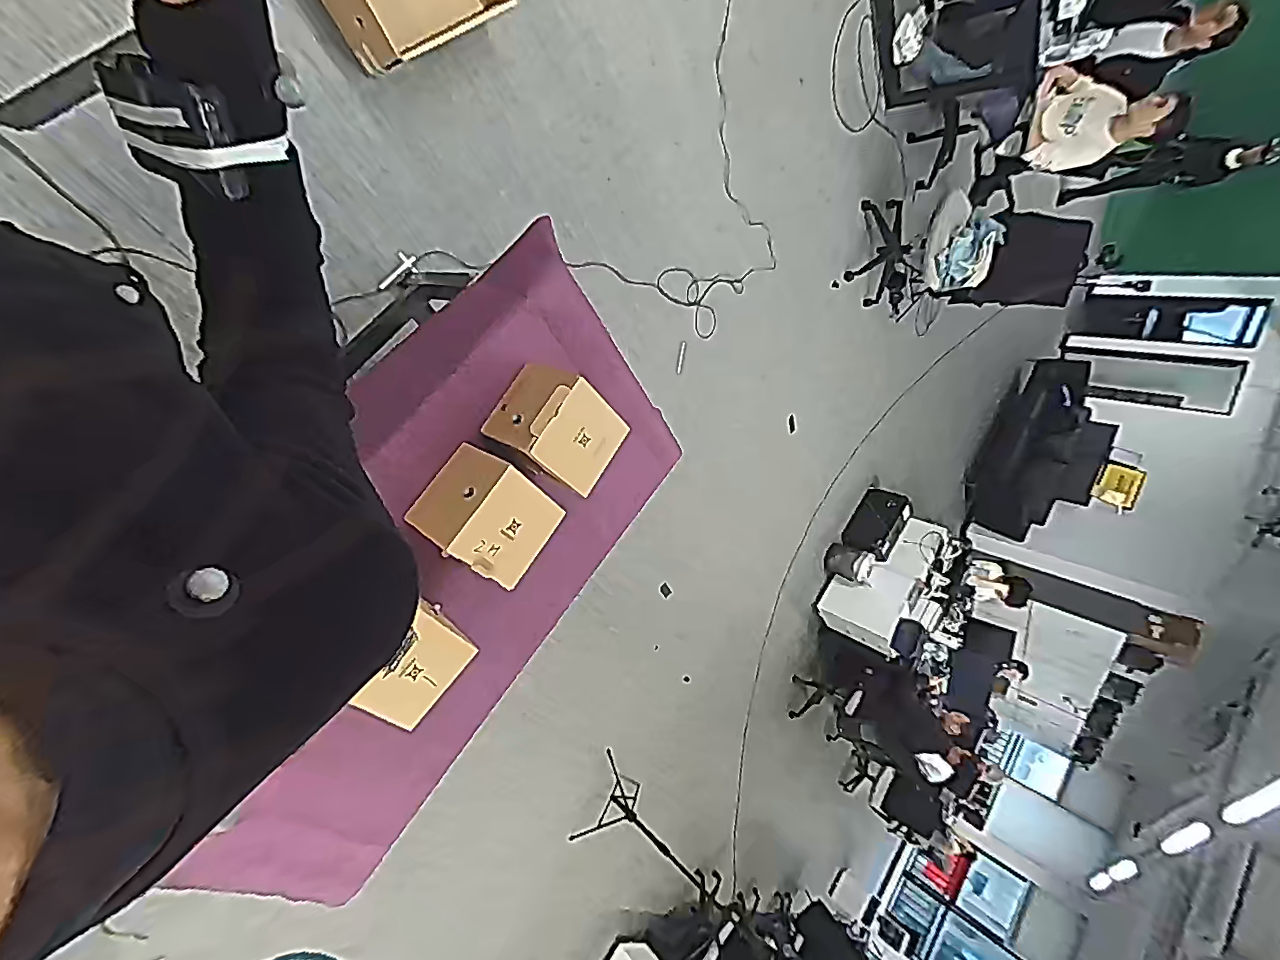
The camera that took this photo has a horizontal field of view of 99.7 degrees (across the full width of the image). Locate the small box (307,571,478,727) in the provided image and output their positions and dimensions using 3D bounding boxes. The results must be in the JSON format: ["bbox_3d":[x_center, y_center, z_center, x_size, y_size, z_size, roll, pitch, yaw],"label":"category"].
[{"bbox_3d":[-0.421,0.278,0.919,0.168,0.176,0.179,-50,136,-19],"label":"small box"}]

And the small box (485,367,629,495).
[{"bbox_3d":[-0.161,-0.100,1.037,0.168,0.176,0.179,-57,137,-11],"label":"small box"}]
